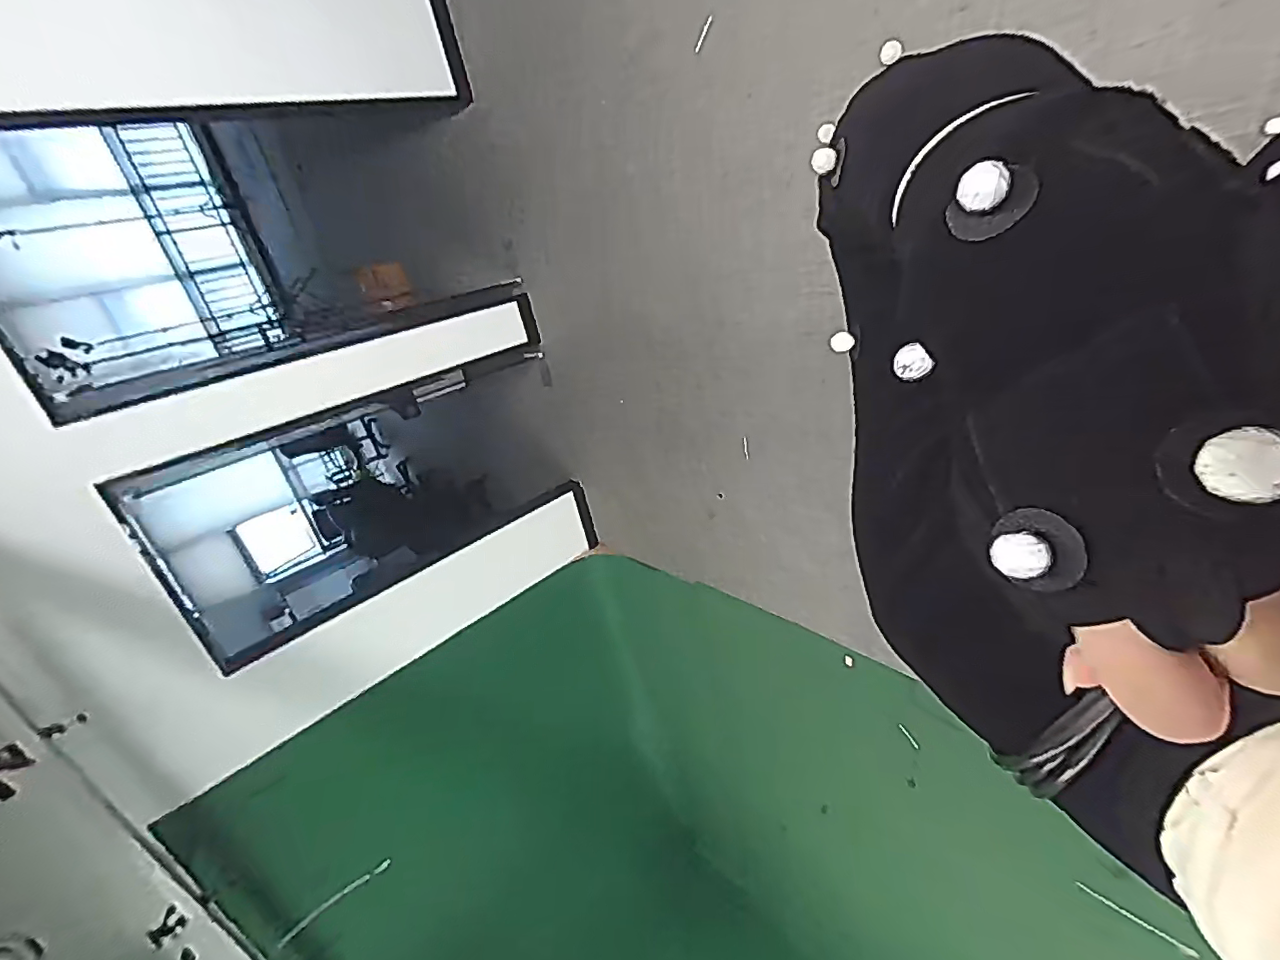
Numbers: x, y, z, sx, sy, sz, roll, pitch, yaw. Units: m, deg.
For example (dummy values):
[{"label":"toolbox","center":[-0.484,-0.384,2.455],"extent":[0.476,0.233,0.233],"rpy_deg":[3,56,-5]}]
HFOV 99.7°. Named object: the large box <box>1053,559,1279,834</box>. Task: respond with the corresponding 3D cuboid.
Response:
[{"label":"large box","center":[1.141,0.438,1.185],"extent":[0.320,0.320,0.408],"rpy_deg":[9,122,50]}]
